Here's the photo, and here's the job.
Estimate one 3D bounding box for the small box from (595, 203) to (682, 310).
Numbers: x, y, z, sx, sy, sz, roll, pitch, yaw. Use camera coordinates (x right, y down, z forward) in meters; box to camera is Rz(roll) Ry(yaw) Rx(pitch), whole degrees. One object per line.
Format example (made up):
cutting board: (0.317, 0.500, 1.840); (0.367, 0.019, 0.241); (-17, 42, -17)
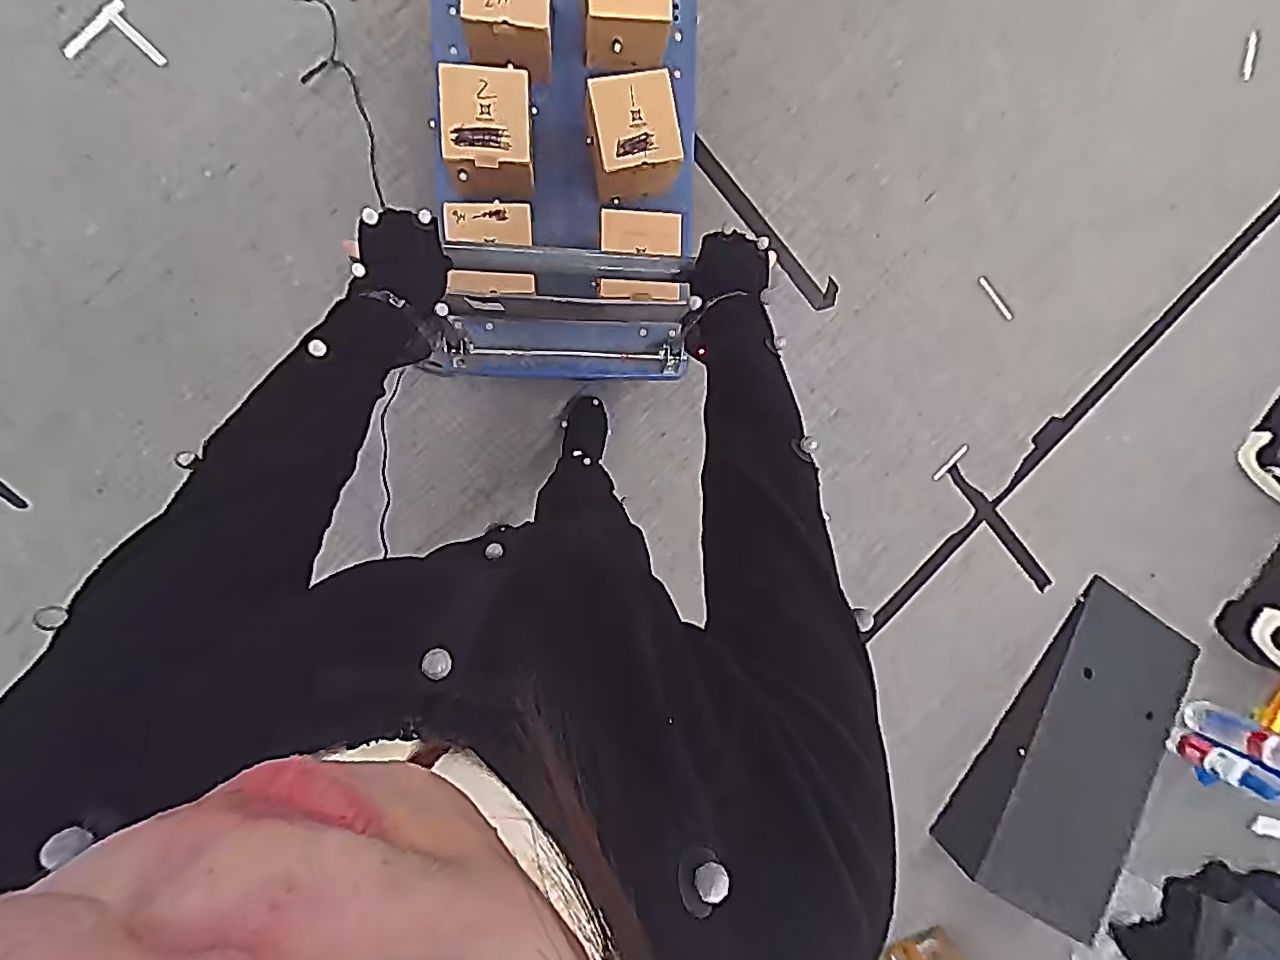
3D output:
small box: (-0.009, -0.475, 1.176); (0.168, 0.176, 0.179); (0, 95, -8)

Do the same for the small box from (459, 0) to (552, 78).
small box: (-0.264, -0.964, 1.091); (0.168, 0.176, 0.179); (2, 96, -8)

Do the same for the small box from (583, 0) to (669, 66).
small box: (-0.034, -1.002, 1.120); (0.168, 0.176, 0.179); (-3, 96, -7)

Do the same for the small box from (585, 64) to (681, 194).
small box: (-0.020, -0.731, 1.148); (0.168, 0.176, 0.179); (-12, 96, -6)

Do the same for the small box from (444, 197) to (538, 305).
small box: (-0.304, -0.469, 1.134); (0.168, 0.176, 0.179); (-4, 96, -8)
